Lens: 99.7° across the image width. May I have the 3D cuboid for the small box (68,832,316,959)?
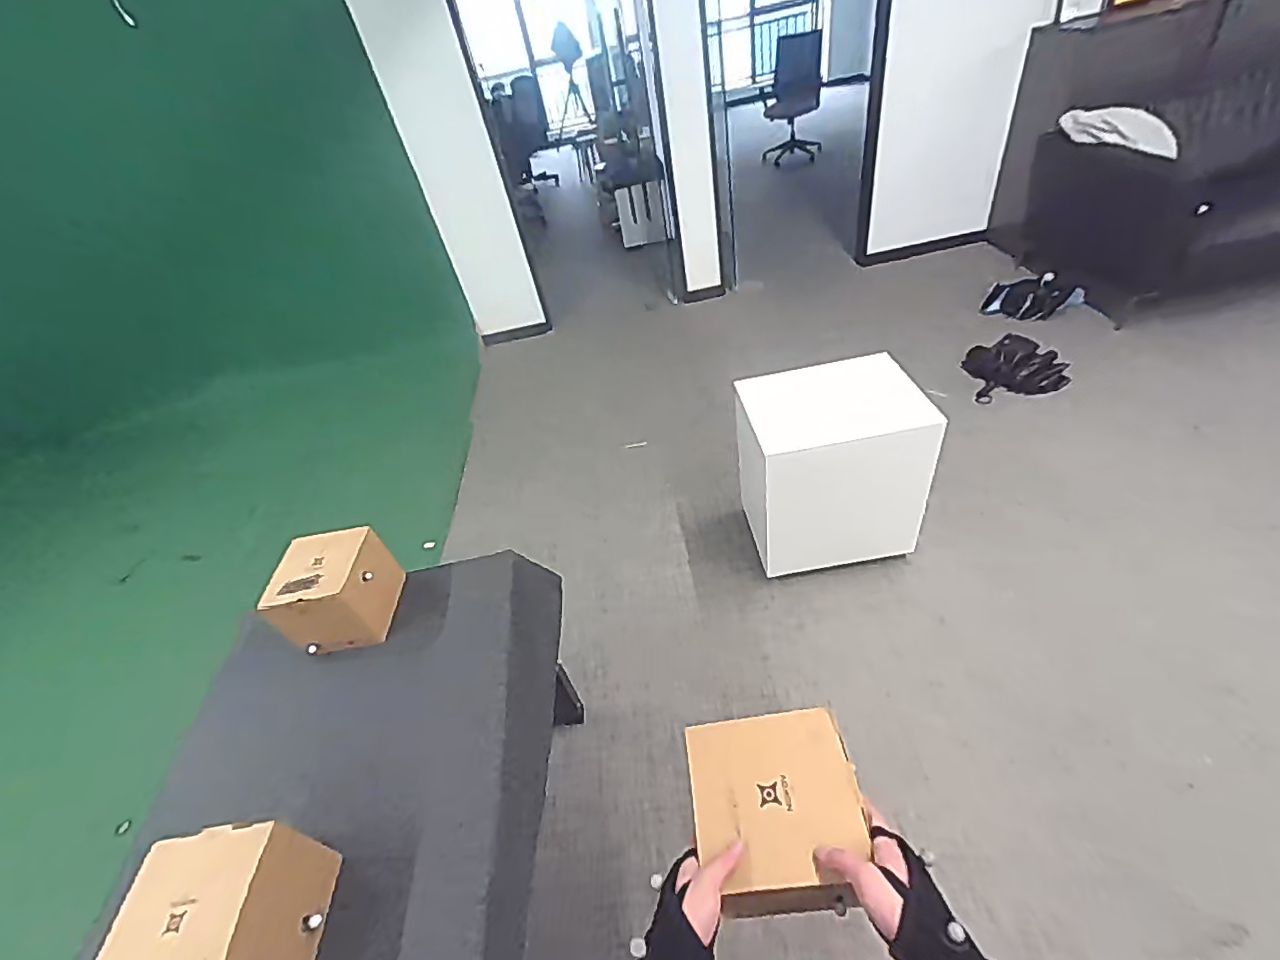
[{"bbox_3d":[-0.524,0.556,0.641,0.168,0.176,0.179,-10,40,0],"label":"small box"}]

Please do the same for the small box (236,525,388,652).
[{"bbox_3d":[-0.618,0.217,1.050,0.168,0.176,0.179,-9,40,1],"label":"small box"}]

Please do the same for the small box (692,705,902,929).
[{"bbox_3d":[0.165,0.381,0.608,0.179,0.176,0.168,-13,42,5],"label":"small box"}]
